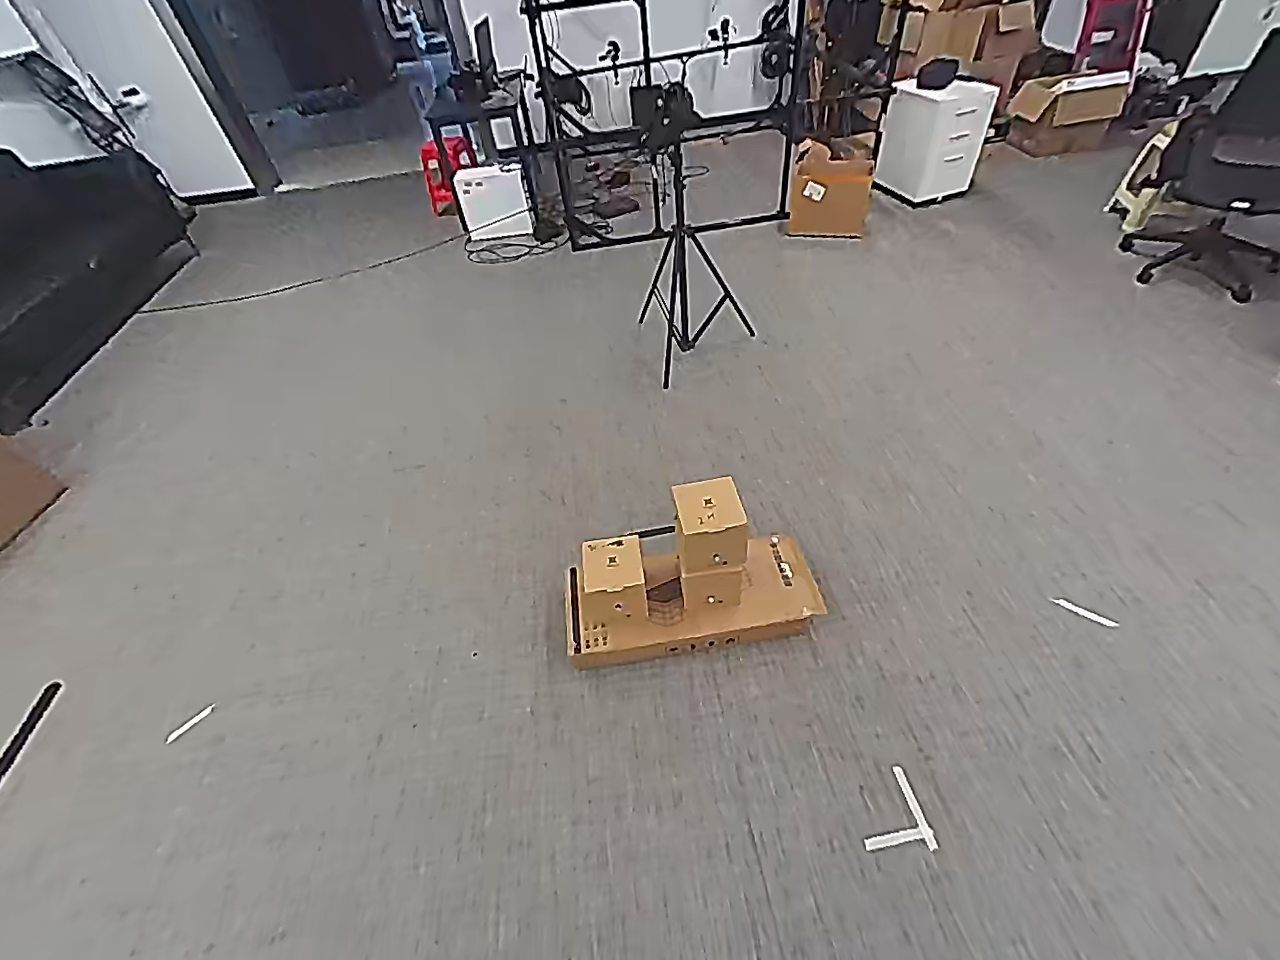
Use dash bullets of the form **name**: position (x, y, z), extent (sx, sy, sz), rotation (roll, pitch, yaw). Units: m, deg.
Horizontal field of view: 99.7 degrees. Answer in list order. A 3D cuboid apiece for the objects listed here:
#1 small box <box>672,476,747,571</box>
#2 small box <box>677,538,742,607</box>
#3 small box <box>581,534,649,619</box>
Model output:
- **small box**: position (0.183, 0.119, 1.458), extent (0.168, 0.176, 0.179), rotation (-10, 46, -1)
- **small box**: position (0.196, 0.245, 1.566), extent (0.168, 0.176, 0.179), rotation (-7, 46, 2)
- **small box**: position (-0.071, 0.285, 1.559), extent (0.168, 0.176, 0.179), rotation (-10, 47, 0)
